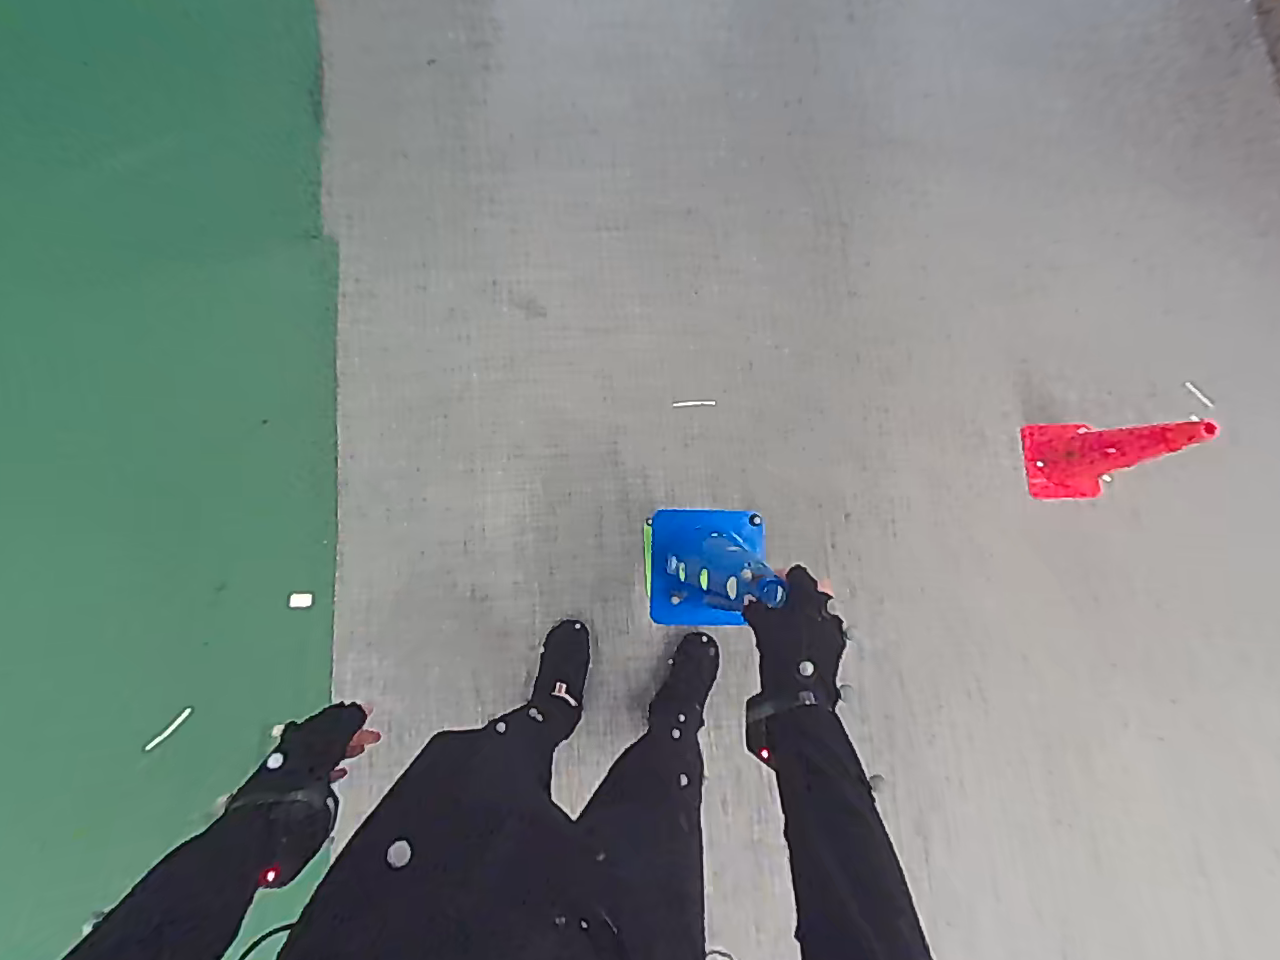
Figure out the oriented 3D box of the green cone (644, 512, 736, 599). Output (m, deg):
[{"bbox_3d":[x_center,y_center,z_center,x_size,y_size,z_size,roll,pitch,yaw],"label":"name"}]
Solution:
[{"bbox_3d":[0.128,0.157,1.131,0.202,0.368,0.200,-3,83,-6],"label":"green cone"}]
